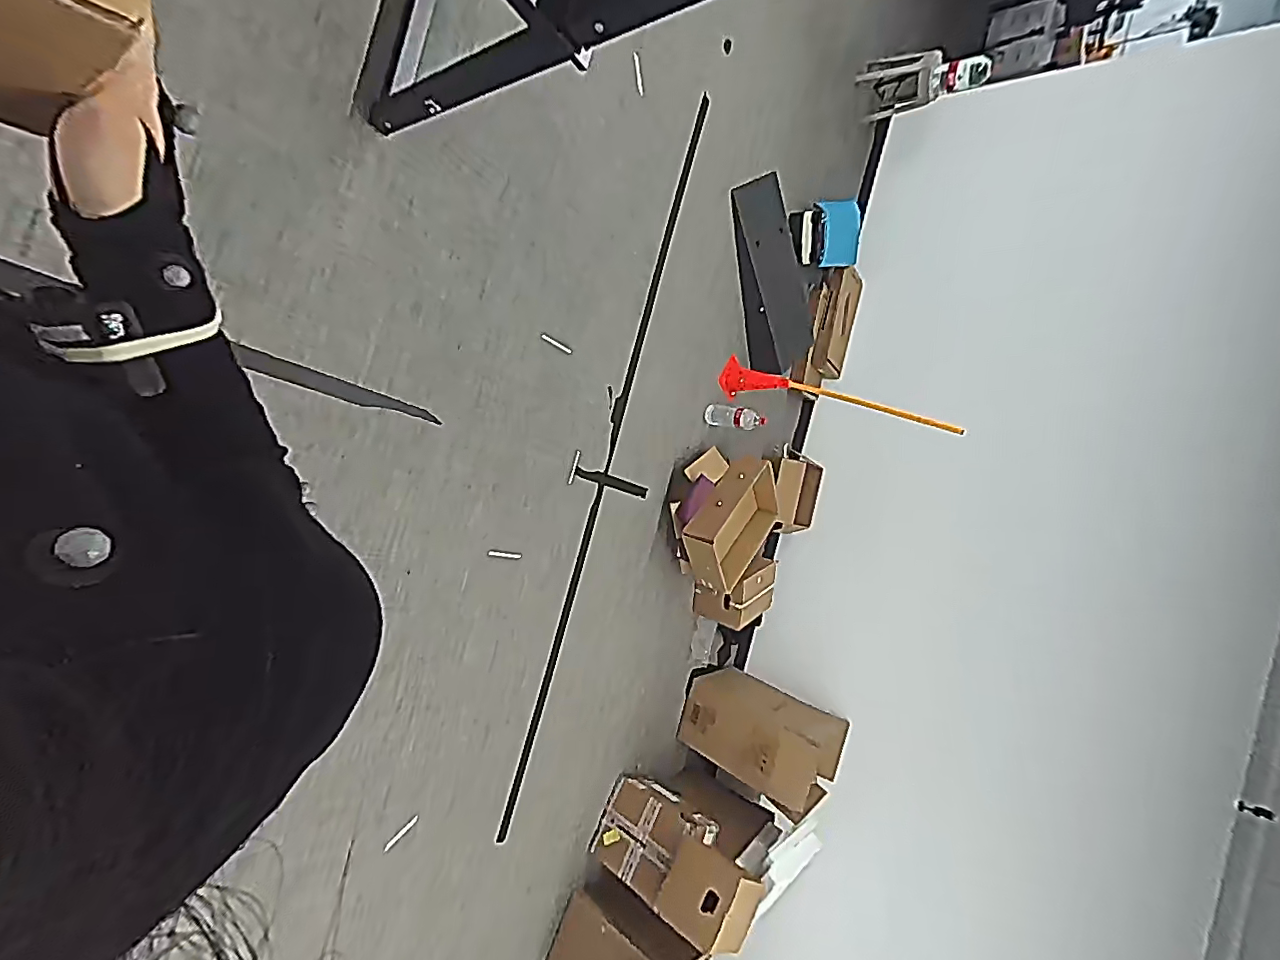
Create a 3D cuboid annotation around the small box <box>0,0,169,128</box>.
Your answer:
[{"bbox_3d":[-0.291,-0.258,0.183,0.168,0.176,0.179,-5,102,-57],"label":"small box"}]
